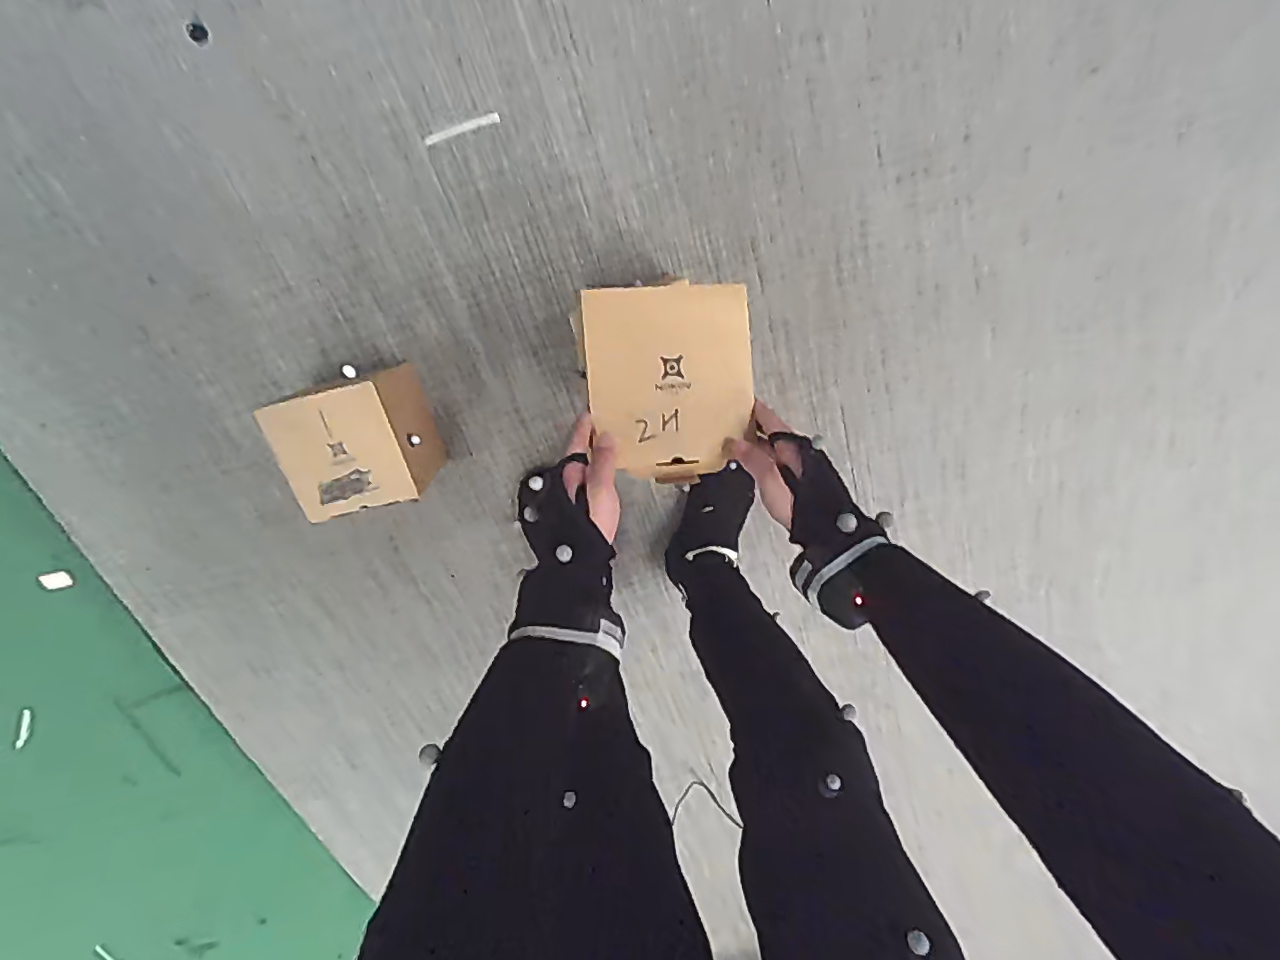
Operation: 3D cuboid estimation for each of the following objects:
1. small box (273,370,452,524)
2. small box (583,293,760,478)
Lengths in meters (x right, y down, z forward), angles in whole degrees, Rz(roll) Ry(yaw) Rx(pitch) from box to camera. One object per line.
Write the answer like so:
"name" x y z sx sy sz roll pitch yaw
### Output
"small box" -0.412 -0.058 0.842 0.168 0.176 0.179 -14 111 0
"small box" 0.025 -0.100 0.612 0.168 0.176 0.179 -5 96 -7
